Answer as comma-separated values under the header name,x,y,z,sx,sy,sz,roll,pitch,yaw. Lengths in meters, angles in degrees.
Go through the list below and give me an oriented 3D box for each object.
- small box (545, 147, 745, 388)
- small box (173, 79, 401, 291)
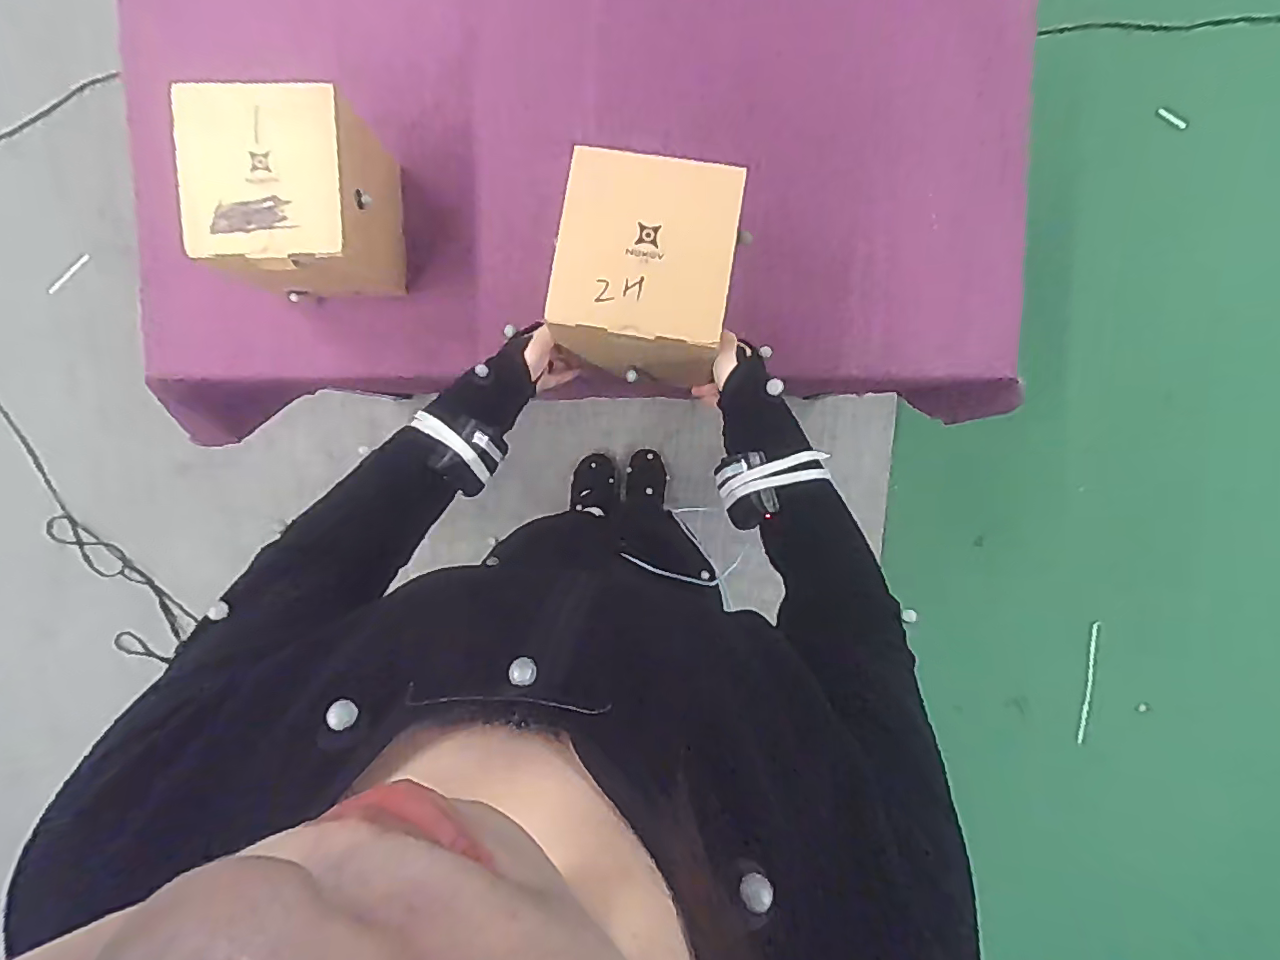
name,x,y,z,sx,sy,sz,roll,pitch,yaw
small box,0.007,-0.214,0.586,0.168,0.176,0.179,10,86,3
small box,-0.398,-0.331,0.641,0.168,0.176,0.179,-1,94,-2
